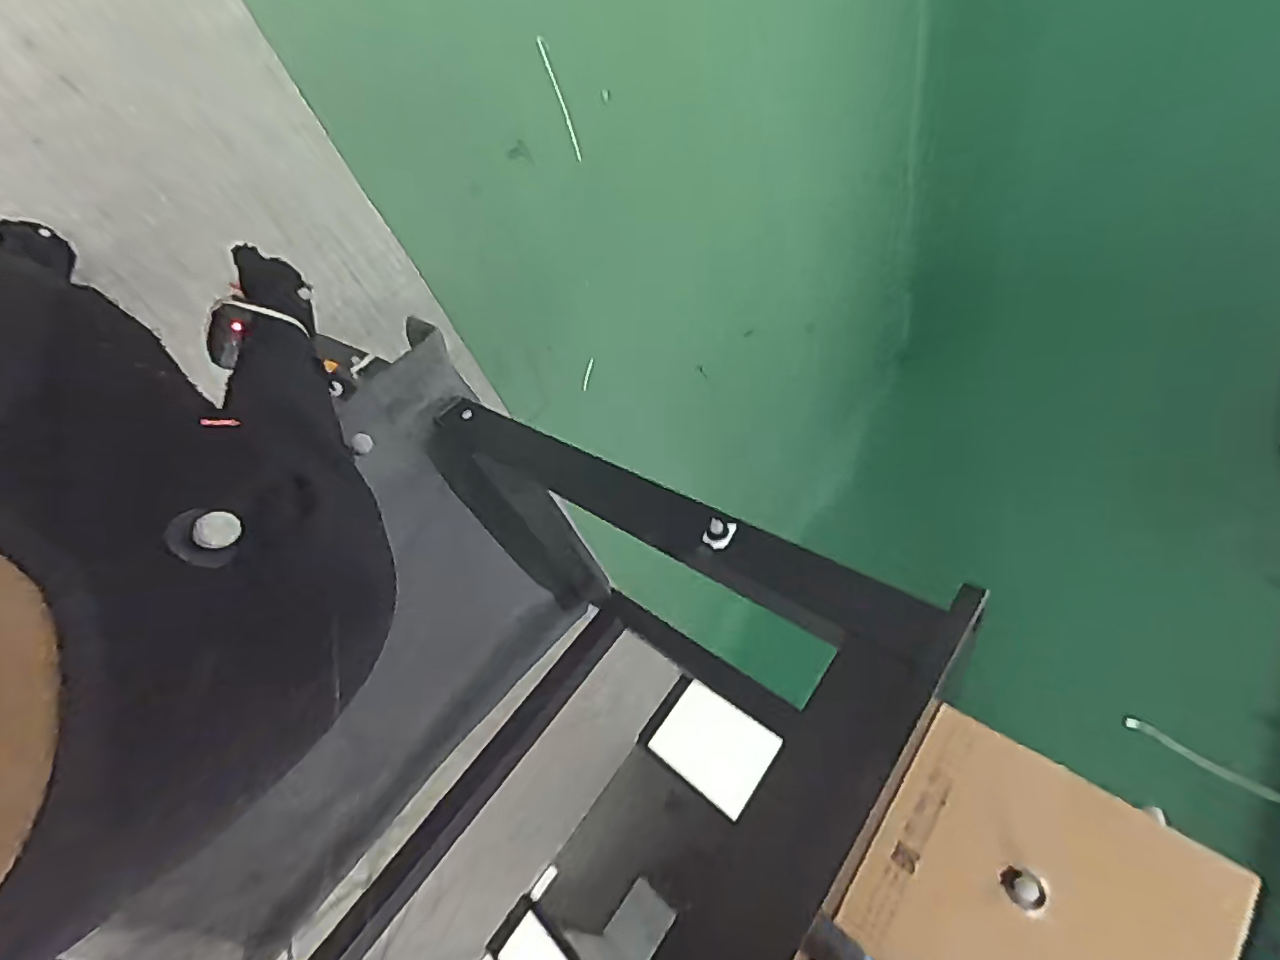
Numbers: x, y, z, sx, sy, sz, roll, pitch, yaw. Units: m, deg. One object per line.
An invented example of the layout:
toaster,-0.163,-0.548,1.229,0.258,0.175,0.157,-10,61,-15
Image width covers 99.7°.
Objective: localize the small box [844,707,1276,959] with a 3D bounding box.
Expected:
small box,0.257,0.287,0.370,0.168,0.176,0.179,-51,139,-15
